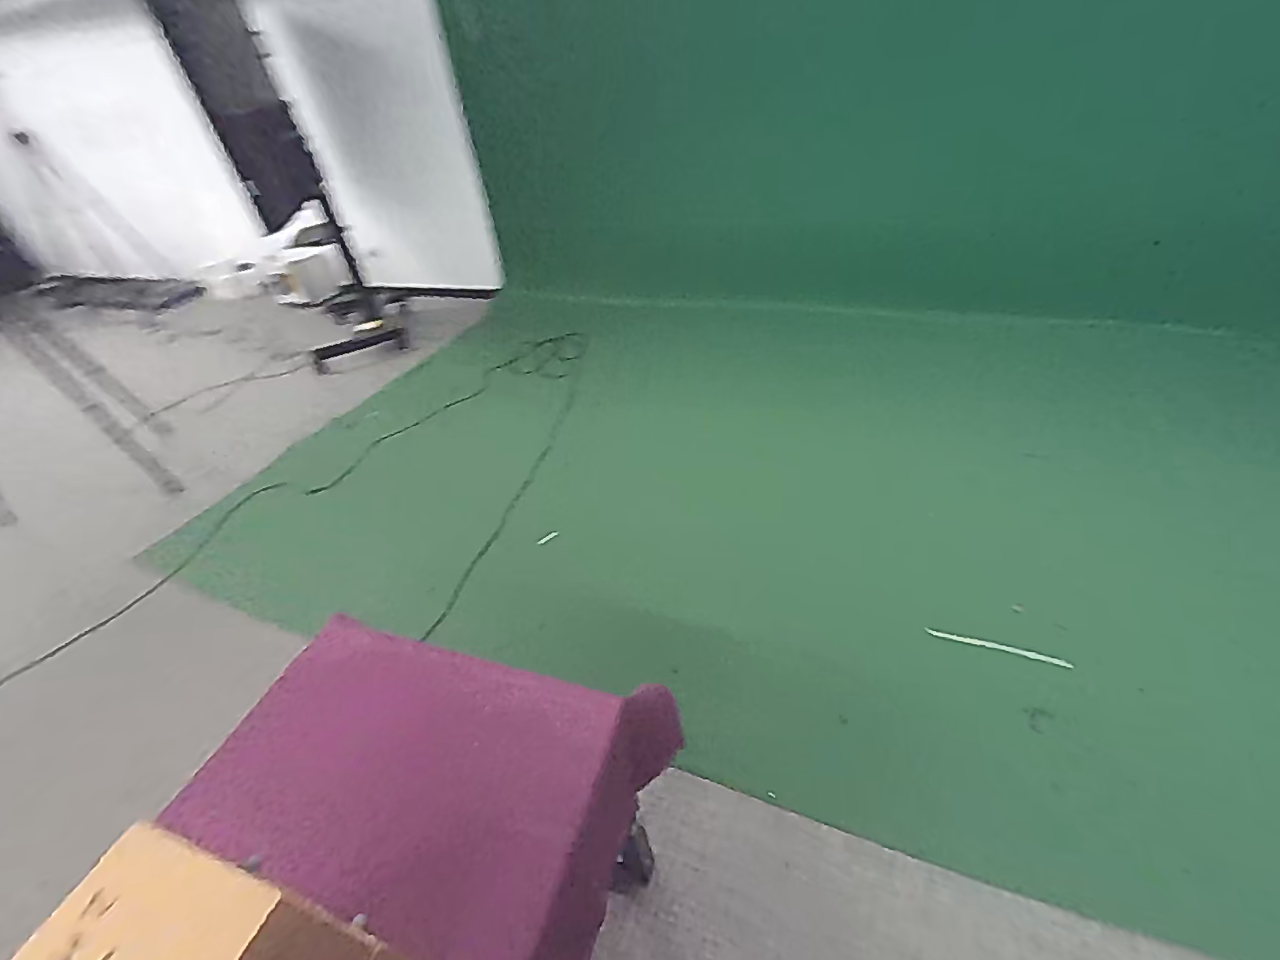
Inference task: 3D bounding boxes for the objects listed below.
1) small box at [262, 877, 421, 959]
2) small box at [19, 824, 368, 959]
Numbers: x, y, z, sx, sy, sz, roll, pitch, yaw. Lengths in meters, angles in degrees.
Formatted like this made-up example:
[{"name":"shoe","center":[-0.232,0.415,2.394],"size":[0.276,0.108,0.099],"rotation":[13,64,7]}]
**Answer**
[{"name":"small box","center":[-0.341,0.540,0.536],"size":[0.179,0.176,0.168],"rotation":[8,42,18]},{"name":"small box","center":[-0.361,0.416,0.429],"size":[0.179,0.176,0.168],"rotation":[7,41,19]}]
